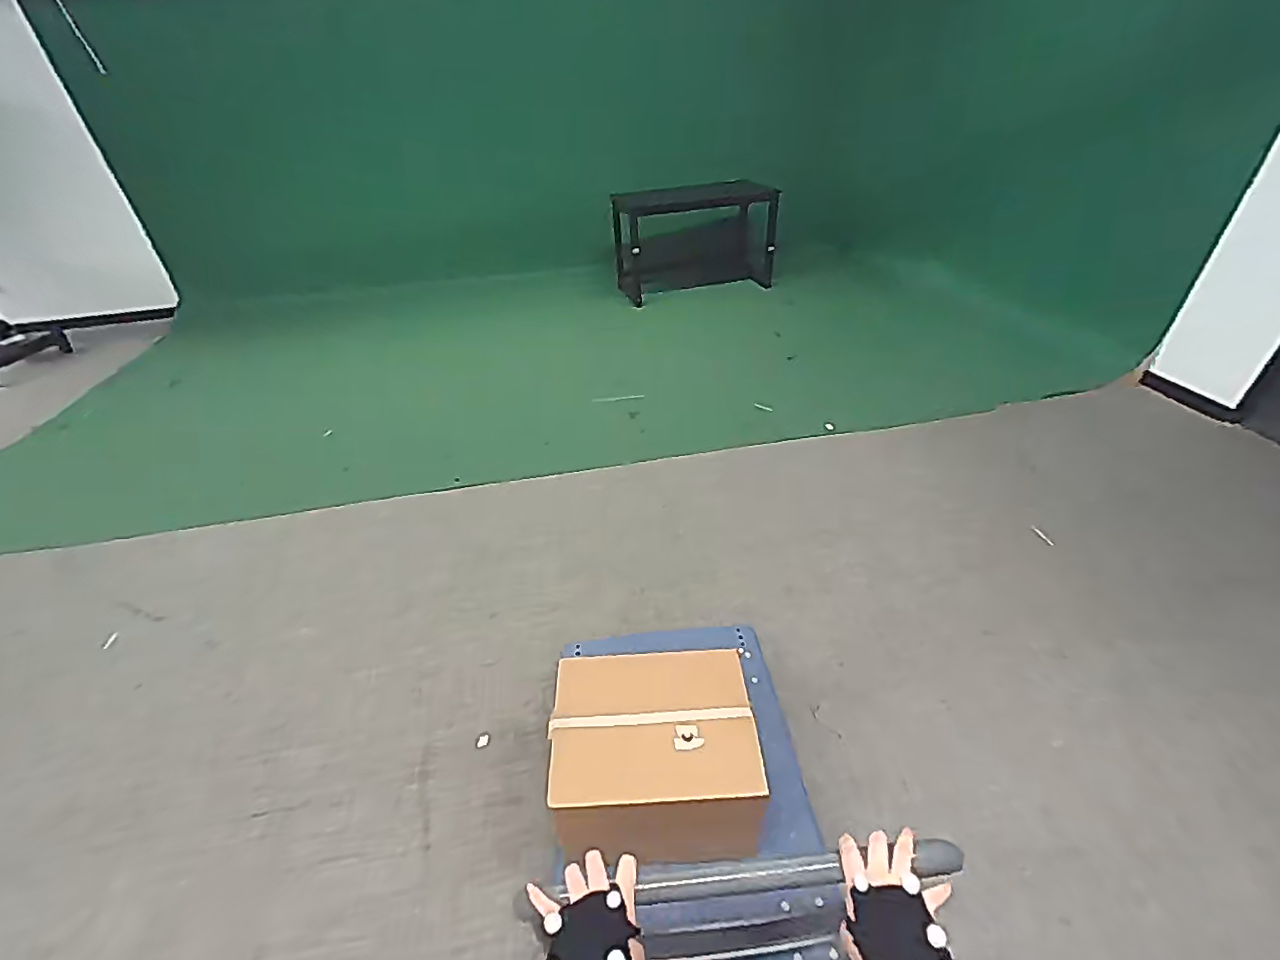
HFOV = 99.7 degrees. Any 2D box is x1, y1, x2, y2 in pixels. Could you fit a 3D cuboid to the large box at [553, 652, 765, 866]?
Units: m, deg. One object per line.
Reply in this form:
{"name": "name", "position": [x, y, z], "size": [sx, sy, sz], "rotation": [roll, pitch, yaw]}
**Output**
{"name": "large box", "position": [0.030, 0.614, 1.202], "size": [0.408, 0.320, 0.320], "rotation": [-2, 37, -1]}
